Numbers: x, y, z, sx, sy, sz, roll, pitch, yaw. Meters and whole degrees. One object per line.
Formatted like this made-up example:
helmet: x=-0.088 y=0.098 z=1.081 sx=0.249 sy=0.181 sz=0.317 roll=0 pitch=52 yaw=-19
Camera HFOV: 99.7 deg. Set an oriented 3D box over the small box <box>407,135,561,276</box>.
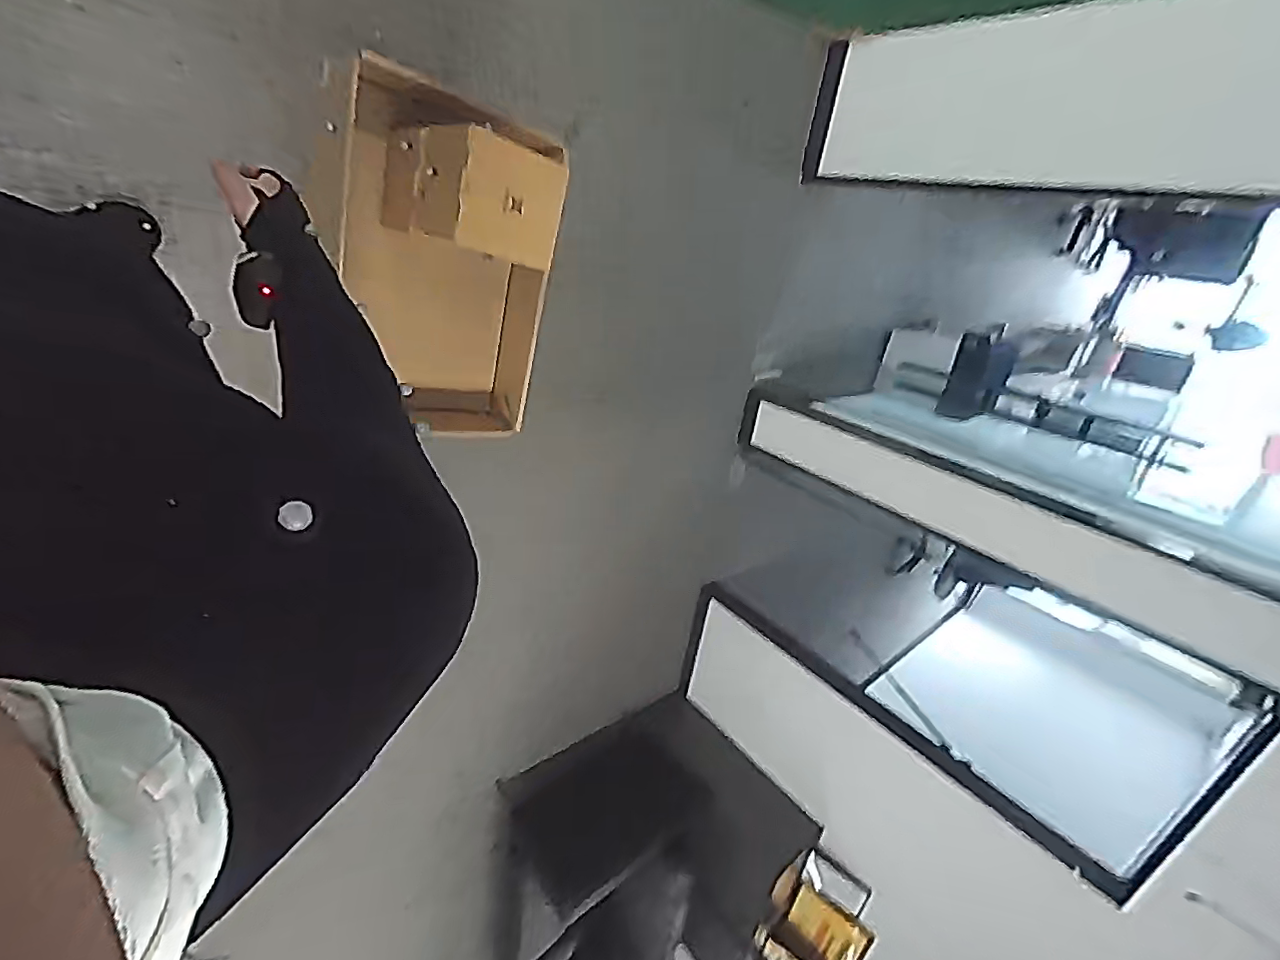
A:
small box: x=-0.267 y=-0.465 z=0.917 sx=0.179 sy=0.176 sz=0.168 roll=-2 pitch=117 yaw=-45
